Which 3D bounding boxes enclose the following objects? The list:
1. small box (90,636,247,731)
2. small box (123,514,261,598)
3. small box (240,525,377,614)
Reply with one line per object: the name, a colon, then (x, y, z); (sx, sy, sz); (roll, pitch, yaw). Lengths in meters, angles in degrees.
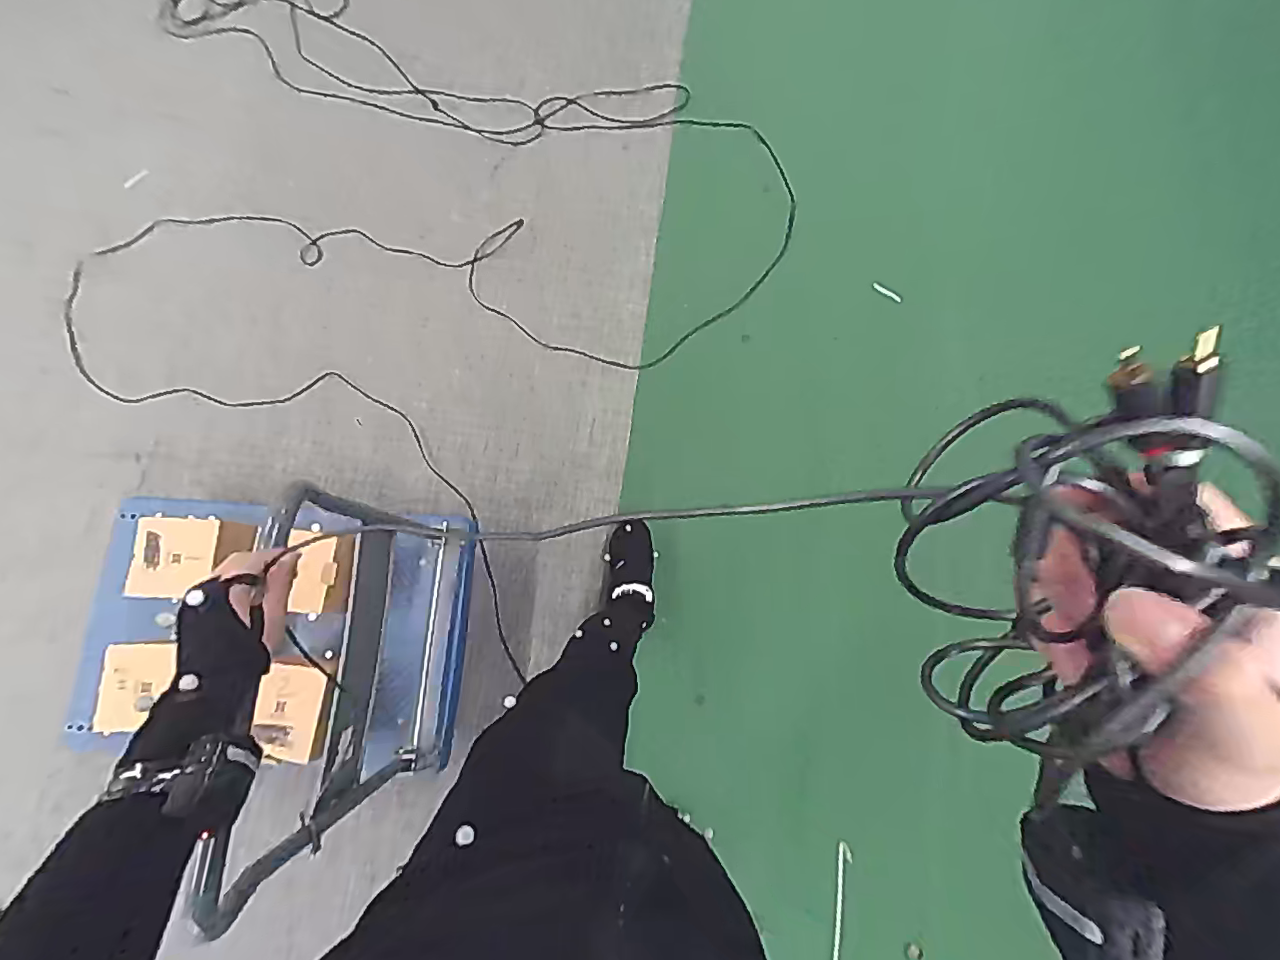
small box: (-0.980, 0.420, 1.142); (0.179, 0.176, 0.168); (0, 78, 1)
small box: (-0.962, 0.172, 1.191); (0.179, 0.176, 0.168); (3, 79, 1)
small box: (-0.714, 0.198, 1.183); (0.179, 0.176, 0.168); (6, 79, 2)
